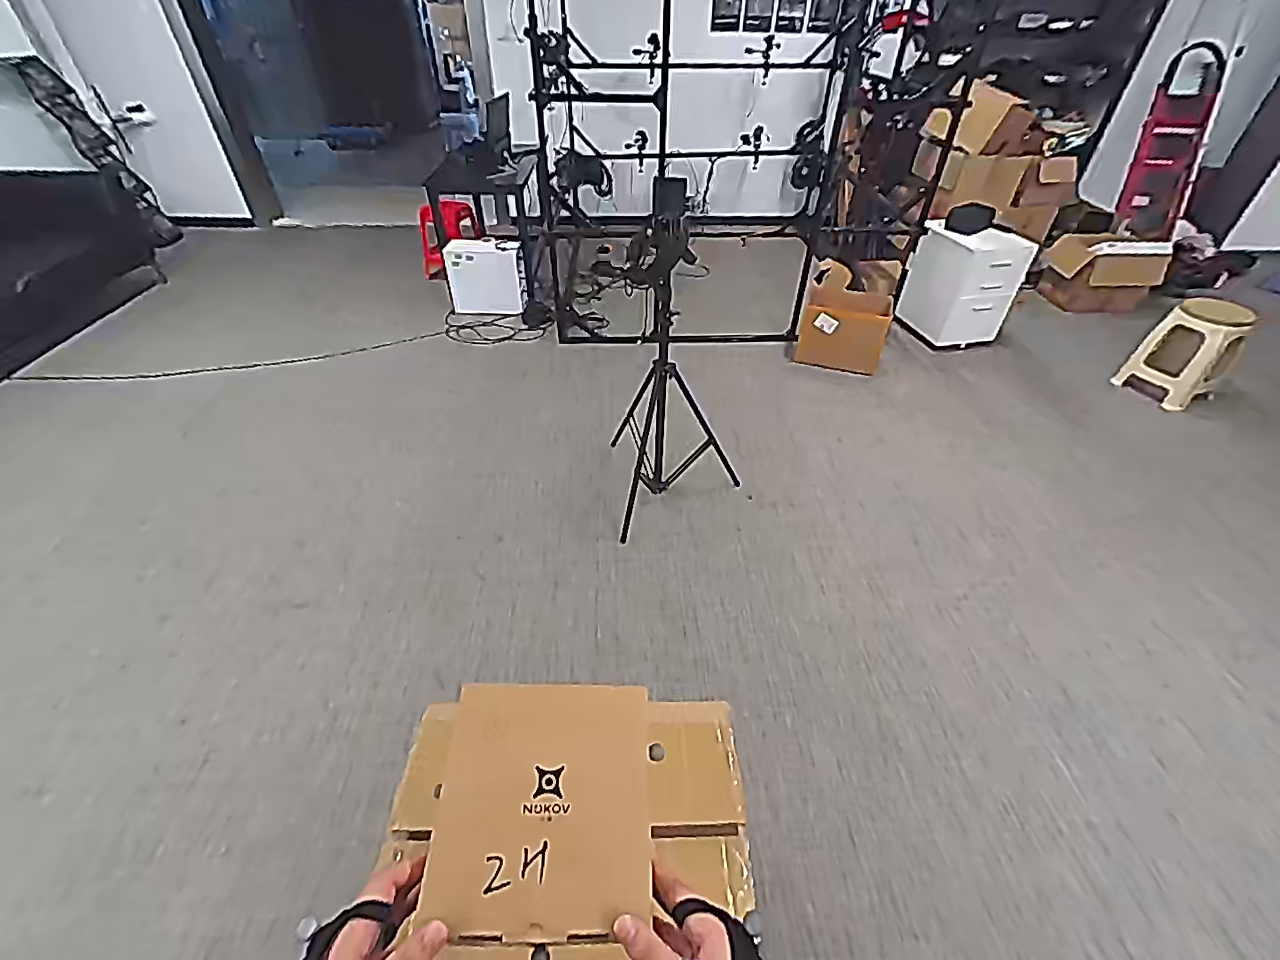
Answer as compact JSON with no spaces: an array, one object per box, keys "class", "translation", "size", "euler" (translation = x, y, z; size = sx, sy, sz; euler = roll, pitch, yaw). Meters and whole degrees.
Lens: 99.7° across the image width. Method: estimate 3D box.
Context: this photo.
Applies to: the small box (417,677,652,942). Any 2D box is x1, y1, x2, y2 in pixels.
[{"class":"small box","translation":[-0.080,0.298,0.488],"size":[0.168,0.176,0.179],"euler":[2,48,-4]}]
